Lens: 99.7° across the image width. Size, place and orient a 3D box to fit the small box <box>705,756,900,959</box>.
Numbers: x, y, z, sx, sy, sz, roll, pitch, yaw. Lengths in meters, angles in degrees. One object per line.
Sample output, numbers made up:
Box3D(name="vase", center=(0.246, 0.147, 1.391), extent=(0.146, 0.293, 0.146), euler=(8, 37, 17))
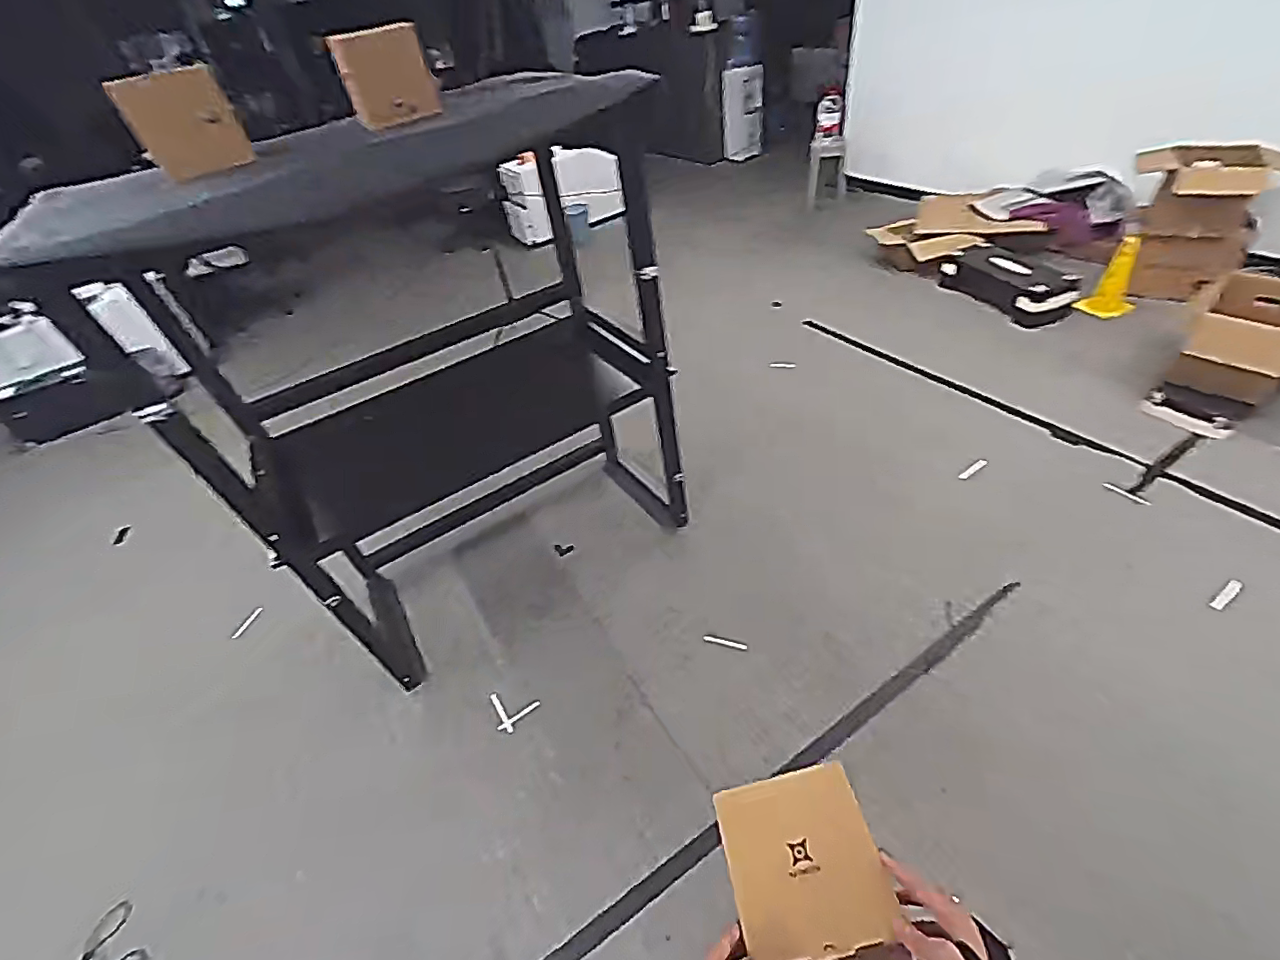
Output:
Box3D(name="small box", center=(0.189, 0.477, 0.656), extent=(0.168, 0.176, 0.179), euler=(-18, 38, 3))

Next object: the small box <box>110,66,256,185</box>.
Box3D(name="small box", center=(-0.931, -0.734, 1.119), extent=(0.179, 0.176, 0.168), euler=(-31, 47, -21))
